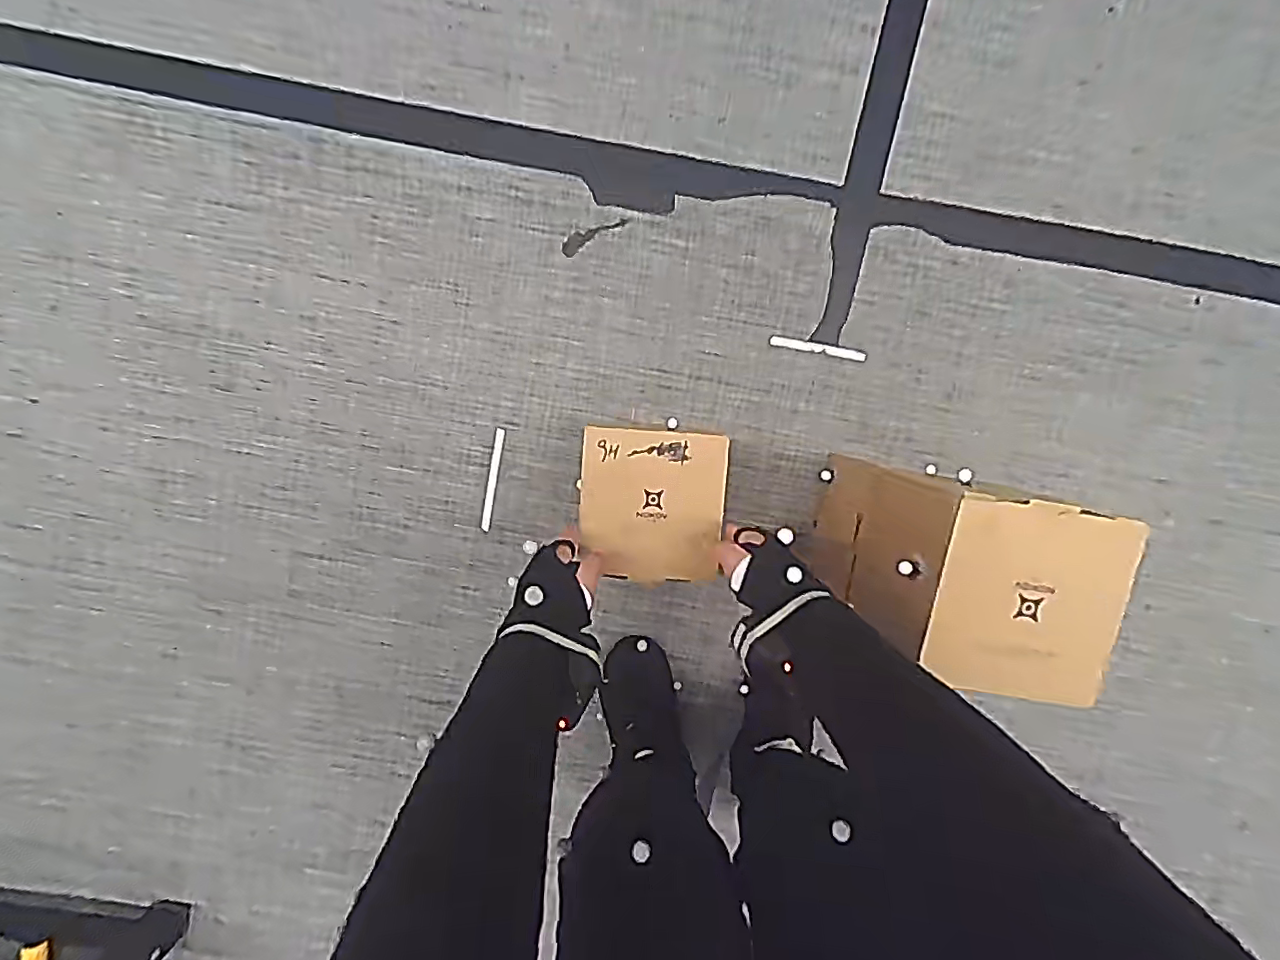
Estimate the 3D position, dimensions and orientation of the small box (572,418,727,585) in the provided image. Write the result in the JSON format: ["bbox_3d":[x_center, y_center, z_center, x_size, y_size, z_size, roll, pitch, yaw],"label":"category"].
[{"bbox_3d":[0.010,0.018,0.694,0.168,0.176,0.179,4,99,-1],"label":"small box"}]

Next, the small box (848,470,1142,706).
[{"bbox_3d":[0.332,0.093,0.548,0.168,0.176,0.179,9,100,-1],"label":"small box"}]

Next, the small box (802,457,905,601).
[{"bbox_3d":[0.335,0.071,0.709,0.179,0.176,0.168,13,99,-4],"label":"small box"}]
